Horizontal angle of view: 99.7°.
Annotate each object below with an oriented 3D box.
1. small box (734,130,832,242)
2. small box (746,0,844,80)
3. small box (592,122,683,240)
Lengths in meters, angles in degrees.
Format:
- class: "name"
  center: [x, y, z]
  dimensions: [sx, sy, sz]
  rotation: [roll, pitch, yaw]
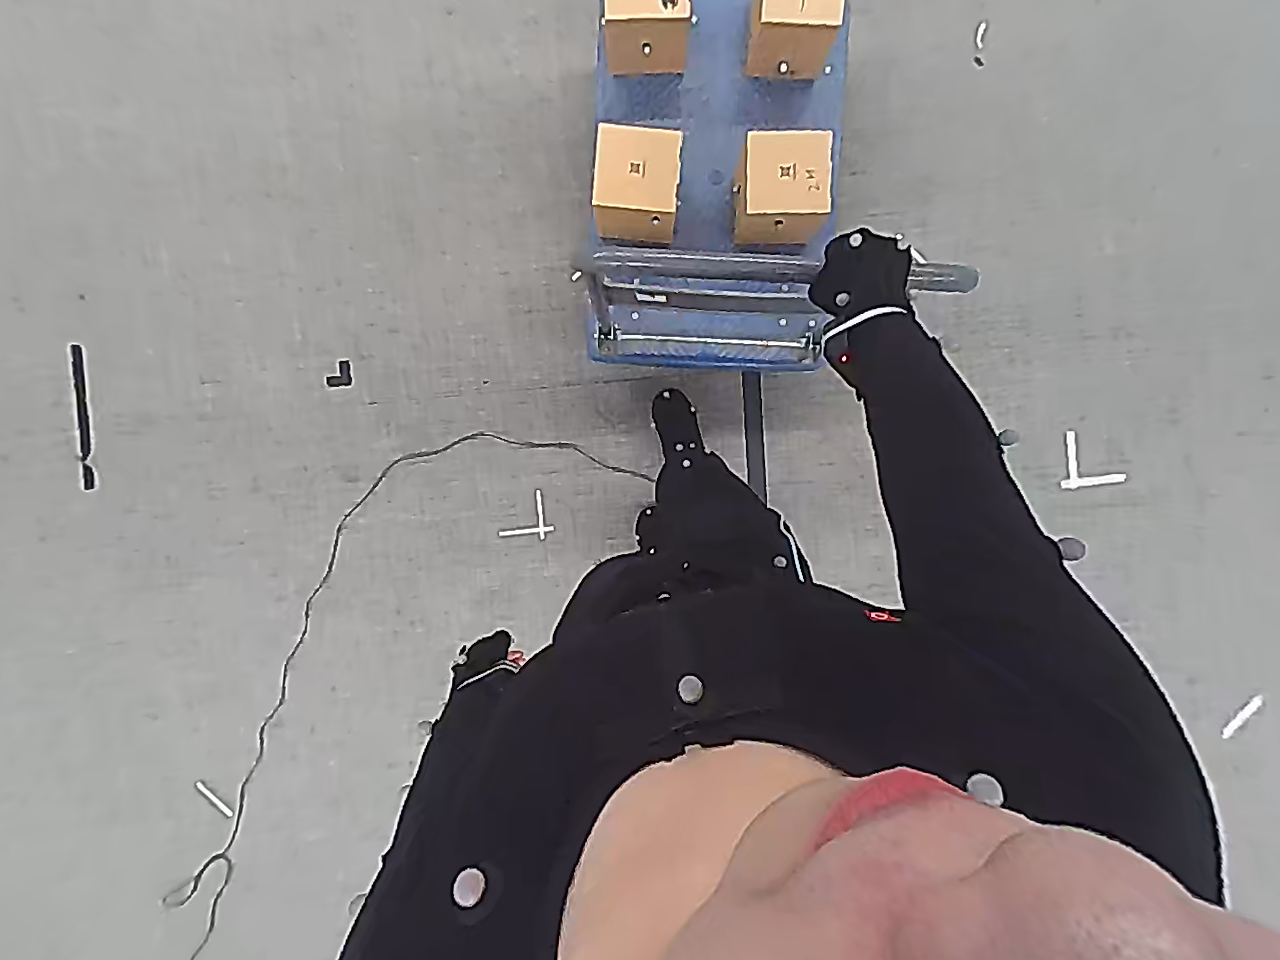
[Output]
- class: "small box"
  center: [0.303, -0.634, 1.182]
  dimensions: [0.179, 0.176, 0.168]
  rotation: [0, 94, 0]
- class: "small box"
  center: [0.328, -1.009, 1.158]
  dimensions: [0.168, 0.176, 0.179]
  rotation: [3, 95, 0]
- class: "small box"
  center: [-0.006, -0.643, 1.184]
  dimensions: [0.179, 0.176, 0.168]
  rotation: [5, 93, -2]
